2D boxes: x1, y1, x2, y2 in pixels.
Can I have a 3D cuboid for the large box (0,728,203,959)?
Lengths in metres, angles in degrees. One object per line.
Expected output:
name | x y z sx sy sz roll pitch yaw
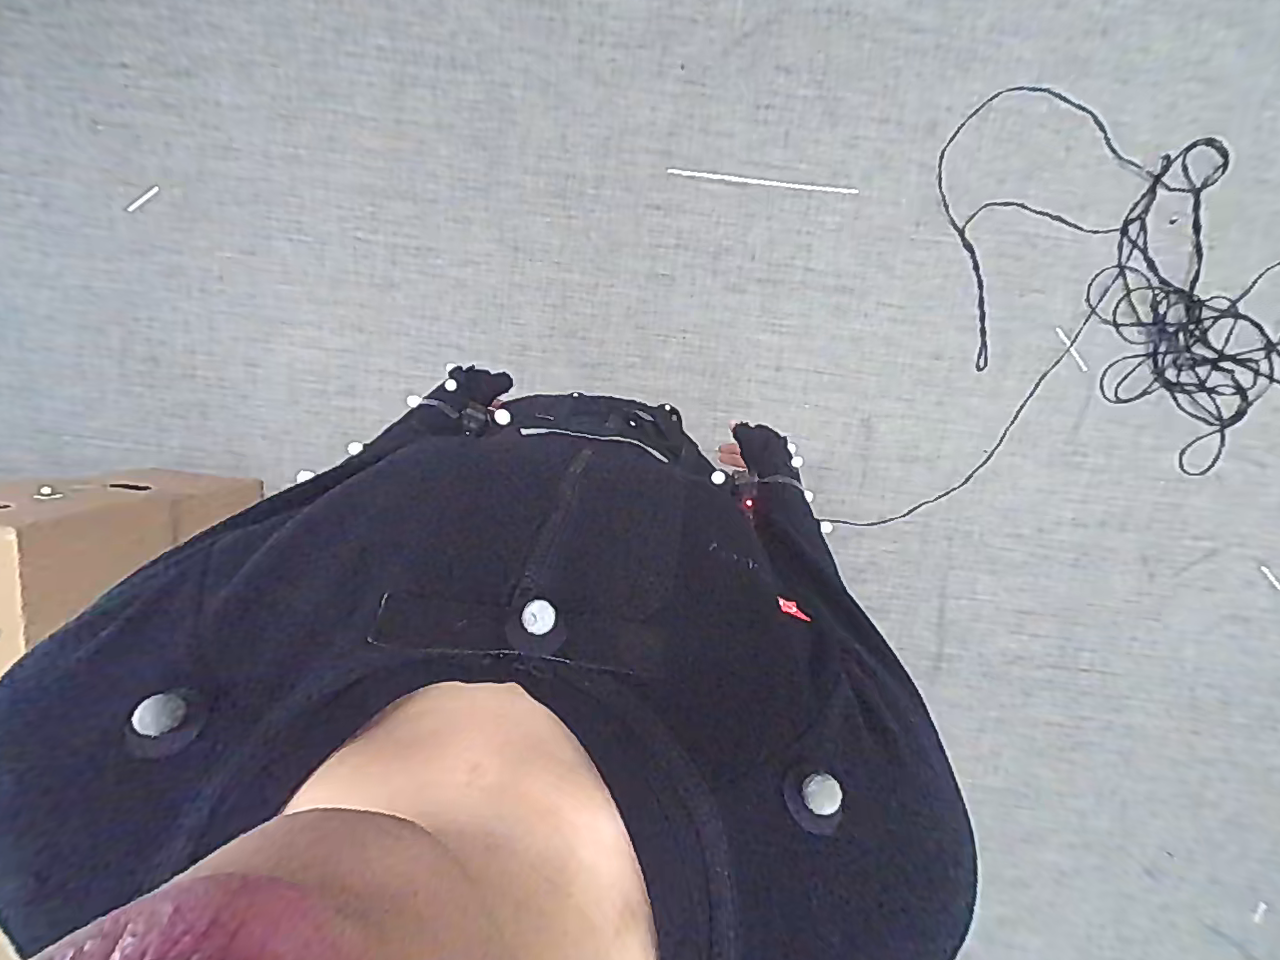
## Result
large box | -1.189 0.801 1.138 0.320 0.320 0.408 9 101 -3
